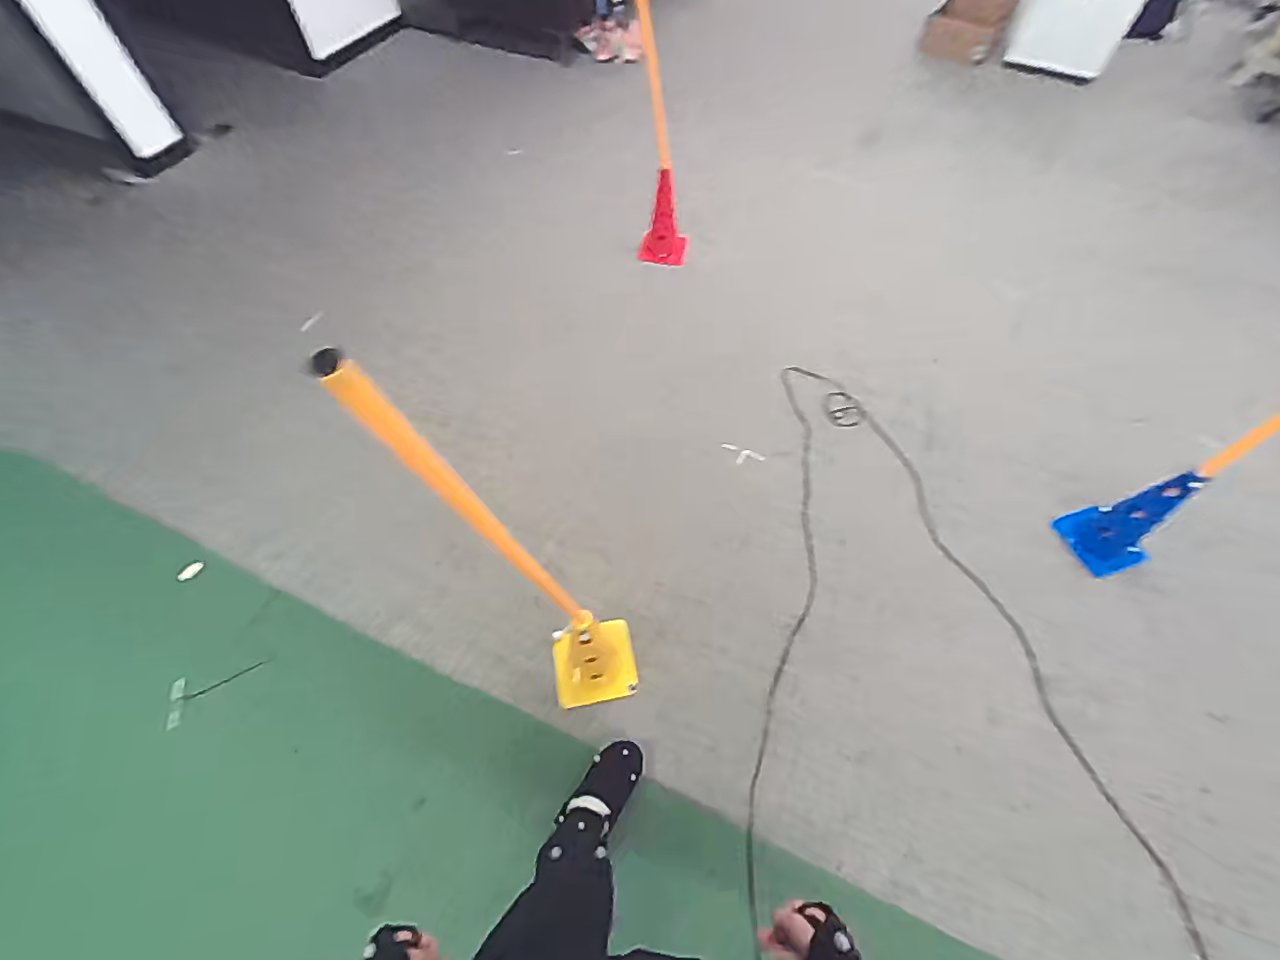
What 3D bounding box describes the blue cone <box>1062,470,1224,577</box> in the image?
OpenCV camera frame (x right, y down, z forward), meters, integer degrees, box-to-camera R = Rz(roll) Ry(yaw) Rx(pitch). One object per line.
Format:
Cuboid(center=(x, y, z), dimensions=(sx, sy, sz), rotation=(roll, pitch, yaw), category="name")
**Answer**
Cuboid(center=(1.358, 0.085, 1.439), dimensions=(0.193, 0.380, 0.192), rotation=(-16, 58, -12), category="blue cone")
